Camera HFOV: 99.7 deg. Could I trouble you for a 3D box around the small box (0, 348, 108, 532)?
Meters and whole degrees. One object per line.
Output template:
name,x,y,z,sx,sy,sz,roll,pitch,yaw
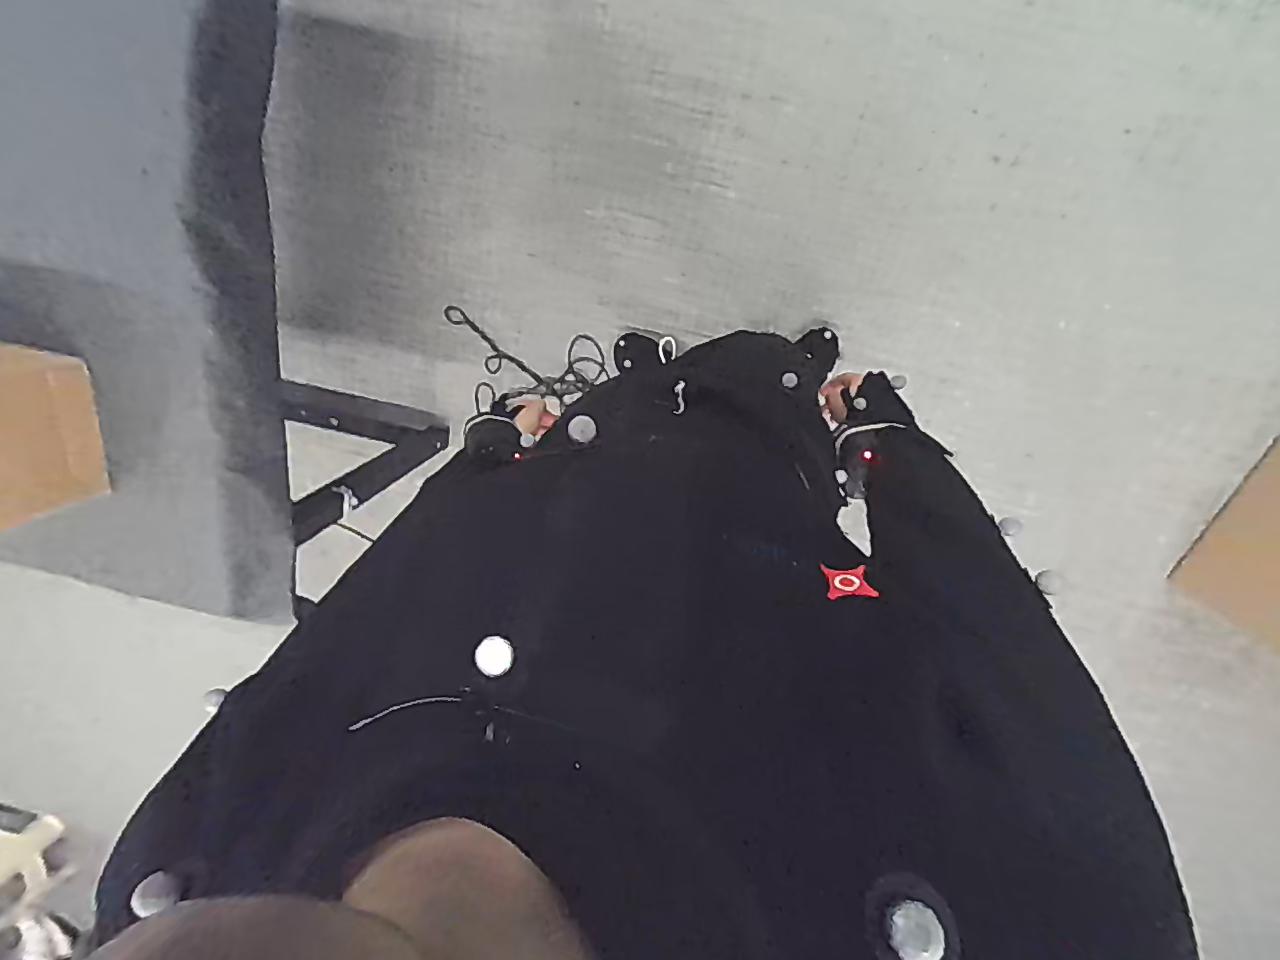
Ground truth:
small box,-0.757,-0.042,0.604,0.168,0.176,0.179,11,111,3

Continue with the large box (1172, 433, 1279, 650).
large box,1.483,0.156,1.122,0.320,0.320,0.408,17,113,1
